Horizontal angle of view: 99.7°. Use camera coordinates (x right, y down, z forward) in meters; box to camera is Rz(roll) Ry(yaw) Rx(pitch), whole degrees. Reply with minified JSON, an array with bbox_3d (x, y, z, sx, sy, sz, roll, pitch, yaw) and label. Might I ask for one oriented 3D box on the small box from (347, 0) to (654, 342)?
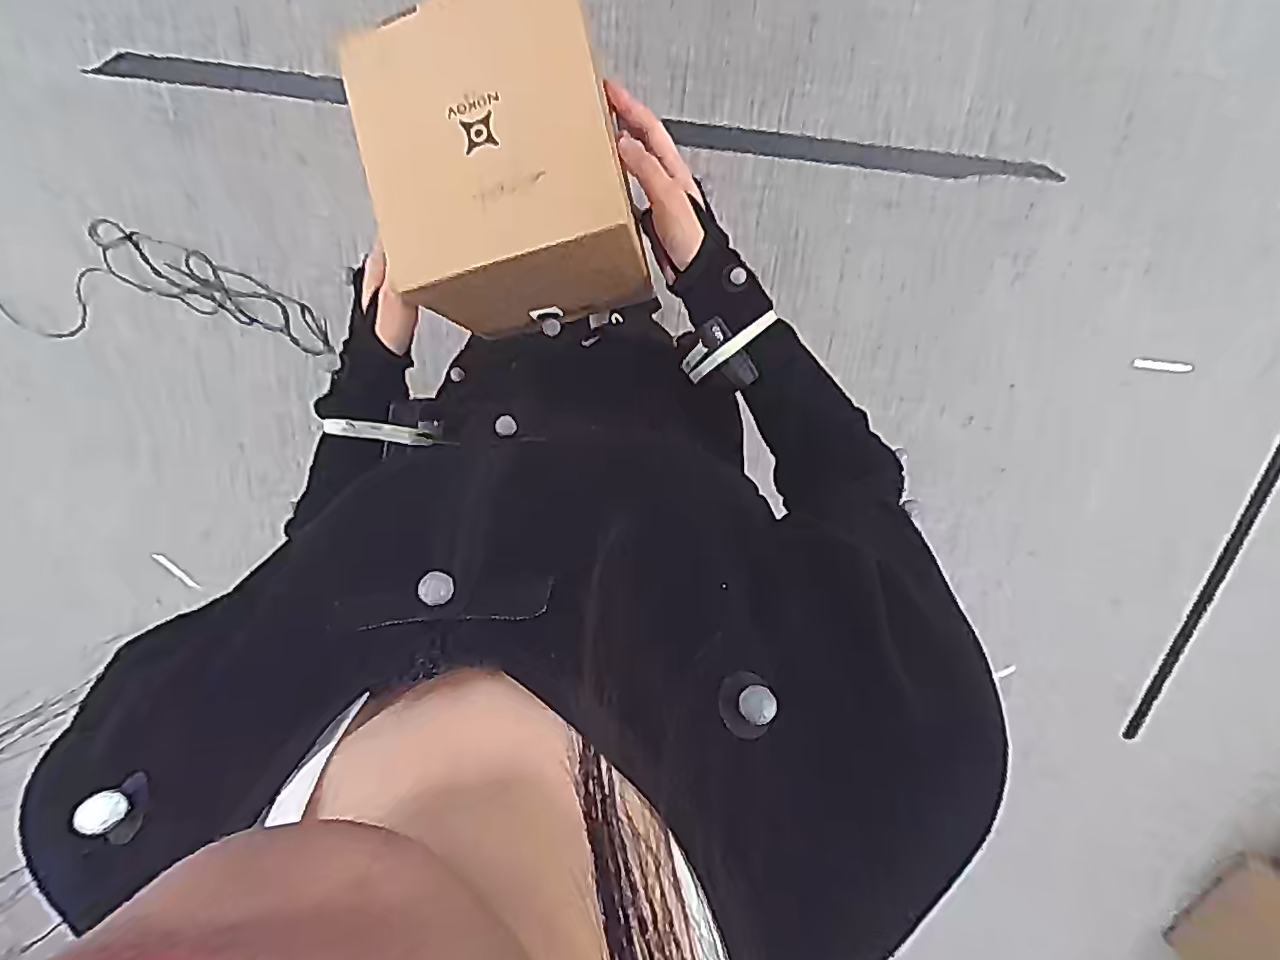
[{"bbox_3d":[-0.092,-0.230,0.436,0.168,0.176,0.179,-14,91,8],"label":"small box"}]
